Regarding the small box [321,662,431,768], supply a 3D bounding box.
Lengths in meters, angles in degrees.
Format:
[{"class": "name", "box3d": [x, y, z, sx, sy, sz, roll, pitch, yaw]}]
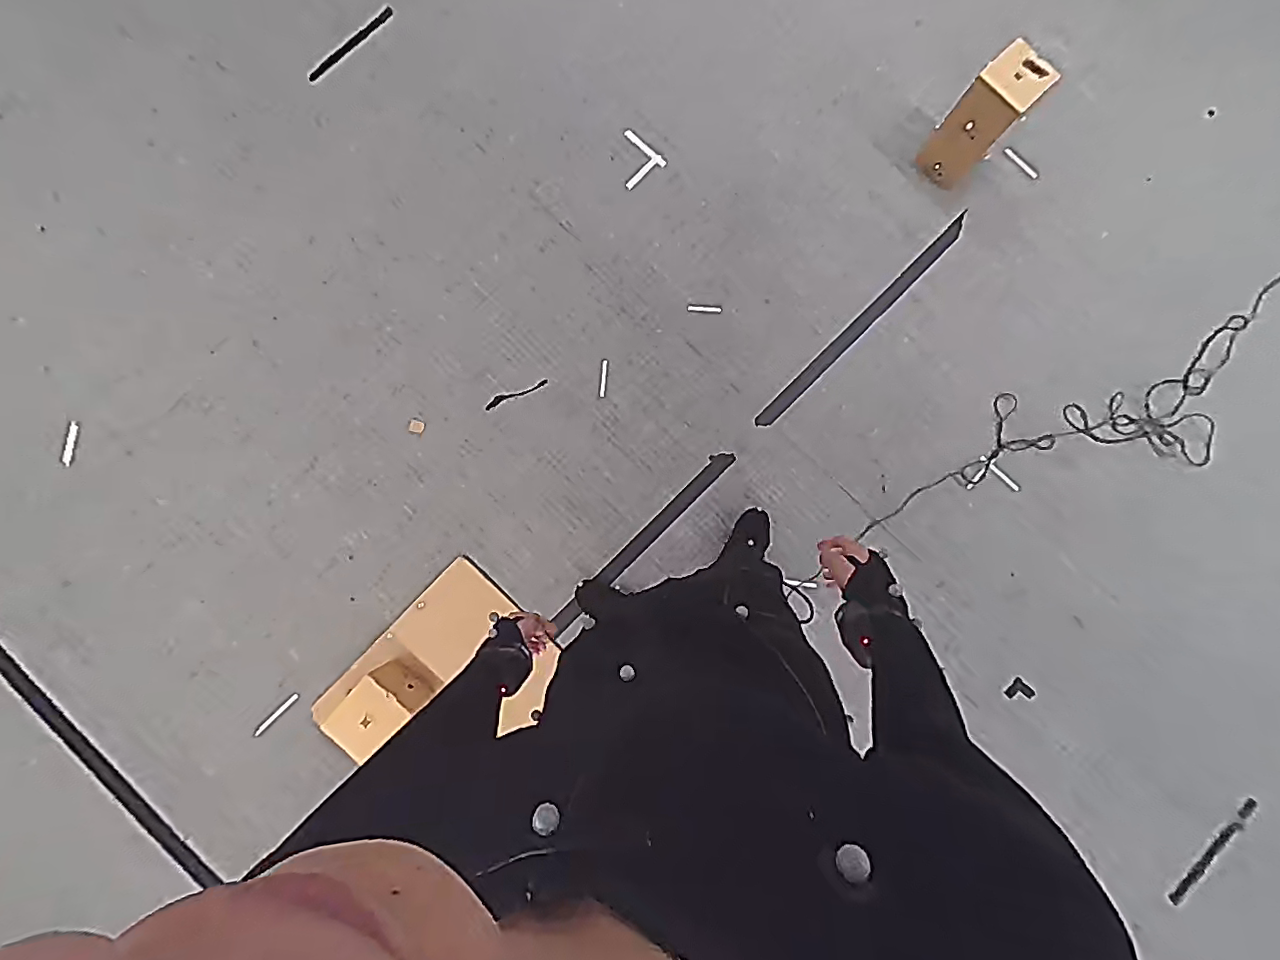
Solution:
[{"class": "small box", "box3d": [-0.699, 0.624, 1.457, 0.168, 0.176, 0.179, 40, 83, 2]}]

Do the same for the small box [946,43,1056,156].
[{"class": "small box", "box3d": [1.051, -1.111, 1.591, 0.179, 0.176, 0.168, -43, 86, -6]}]
